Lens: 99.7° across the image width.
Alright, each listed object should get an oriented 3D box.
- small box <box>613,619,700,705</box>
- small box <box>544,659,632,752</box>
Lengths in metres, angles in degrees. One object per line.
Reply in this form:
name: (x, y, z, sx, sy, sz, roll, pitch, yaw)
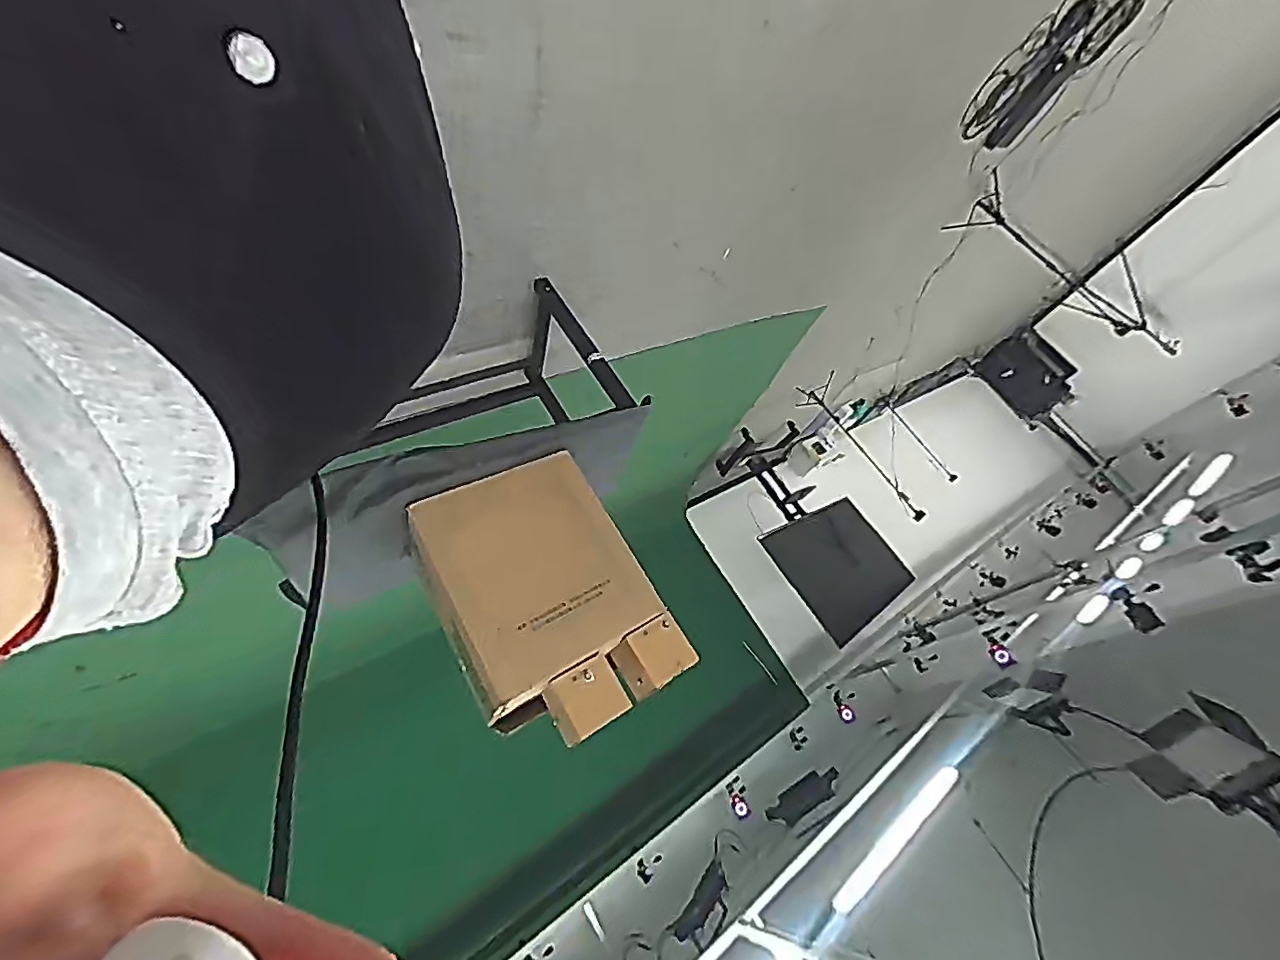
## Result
small box: (0.042, 0.538, 1.615, 0.168, 0.176, 0.179, -23, 159, -32)
small box: (-0.151, 0.621, 1.499, 0.168, 0.176, 0.179, -23, 158, -30)
